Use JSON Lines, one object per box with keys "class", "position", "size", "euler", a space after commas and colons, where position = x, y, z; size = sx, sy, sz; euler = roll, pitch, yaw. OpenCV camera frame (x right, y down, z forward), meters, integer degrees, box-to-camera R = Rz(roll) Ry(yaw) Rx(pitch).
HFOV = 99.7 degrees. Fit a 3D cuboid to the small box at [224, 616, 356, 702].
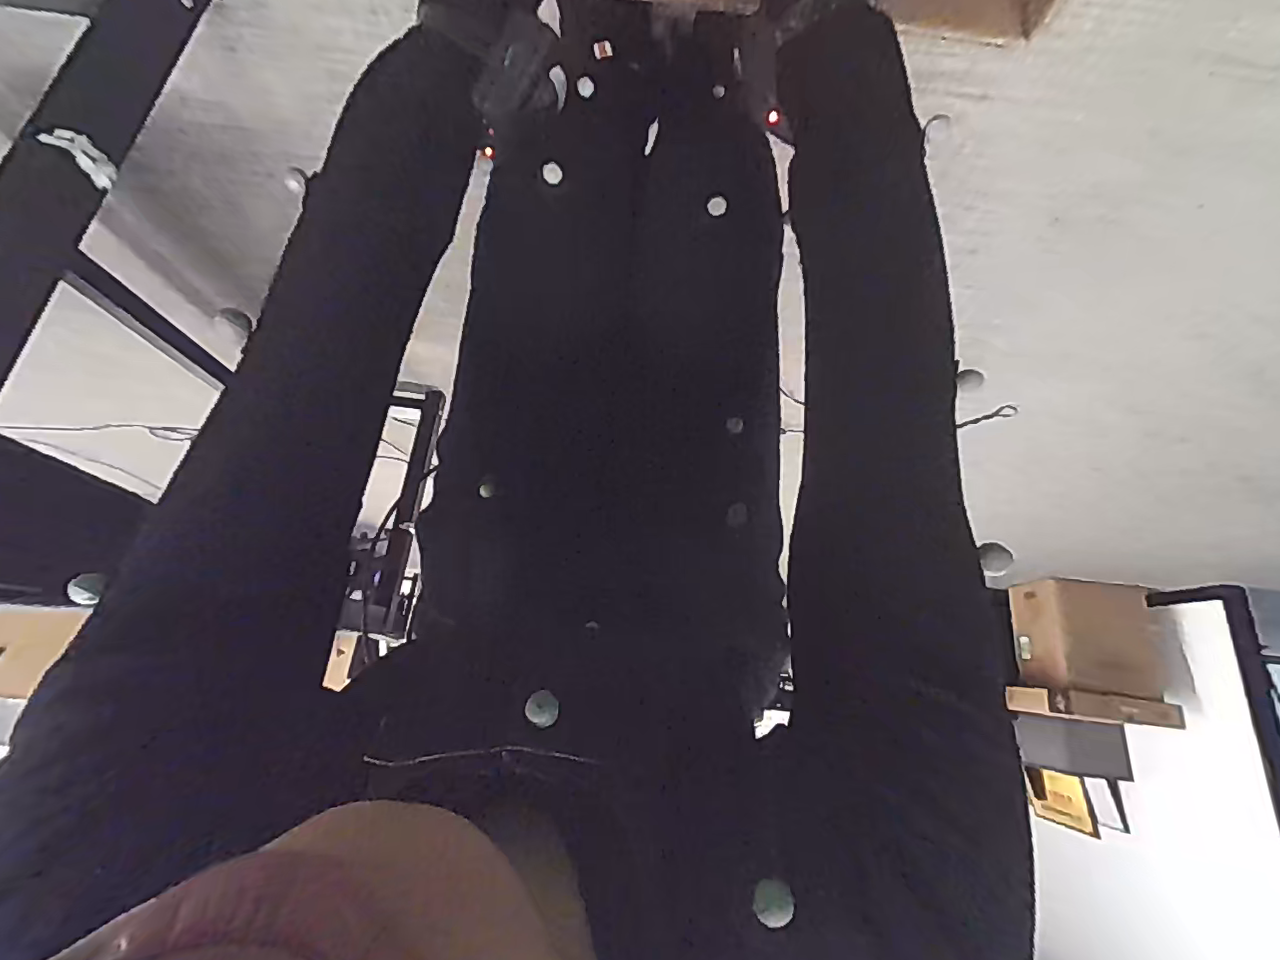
{"class": "small box", "position": [-0.792, 0.409, 1.244], "size": [0.179, 0.176, 0.168], "euler": [6, 161, -2]}
